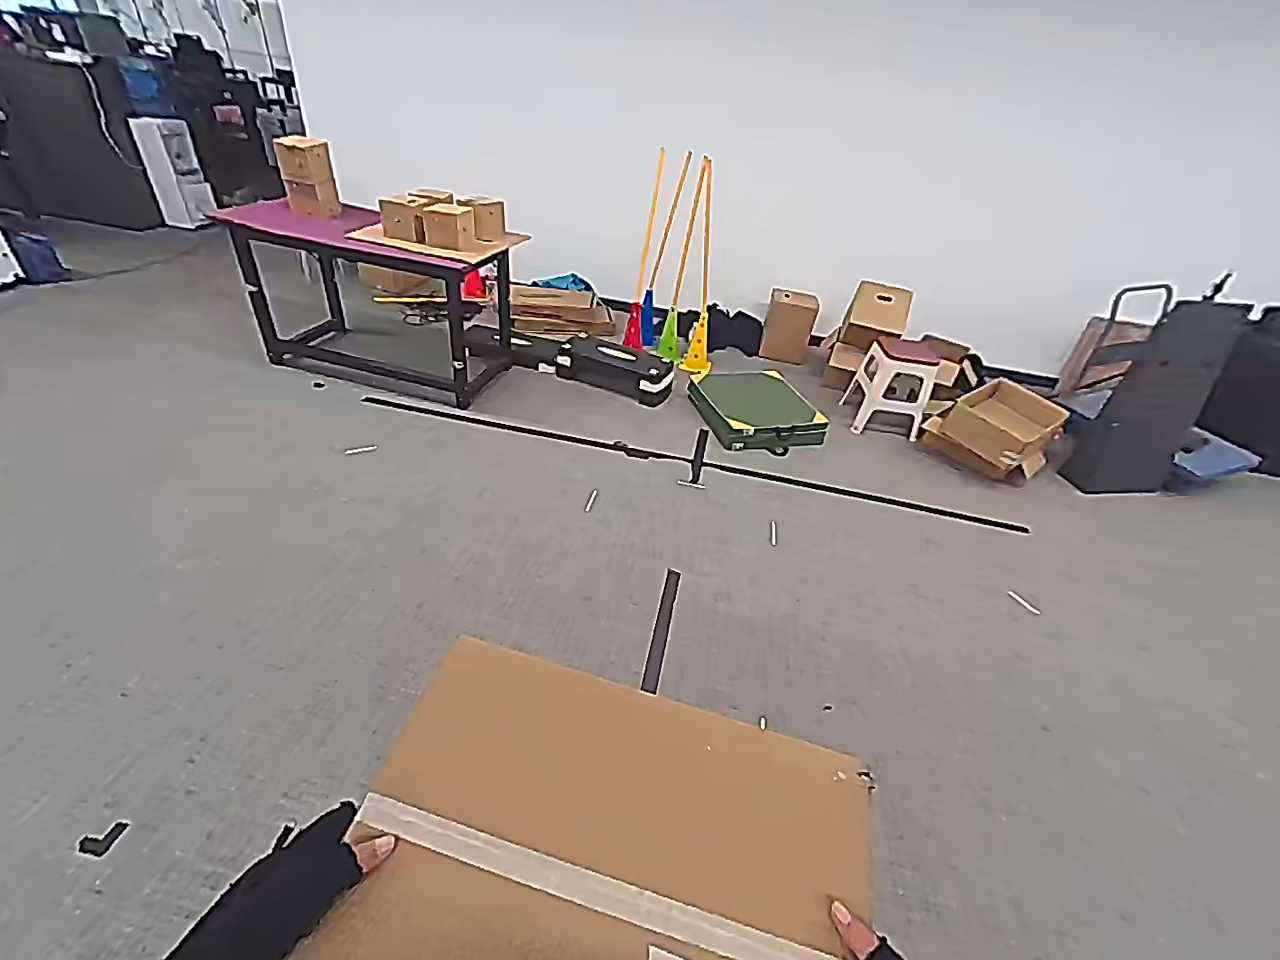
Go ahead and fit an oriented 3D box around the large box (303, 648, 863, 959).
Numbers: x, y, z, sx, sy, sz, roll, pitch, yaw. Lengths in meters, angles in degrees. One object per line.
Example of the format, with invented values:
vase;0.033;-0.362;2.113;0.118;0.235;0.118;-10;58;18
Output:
large box;-0.038;0.422;0.535;0.408;0.320;0.320;15;48;7
